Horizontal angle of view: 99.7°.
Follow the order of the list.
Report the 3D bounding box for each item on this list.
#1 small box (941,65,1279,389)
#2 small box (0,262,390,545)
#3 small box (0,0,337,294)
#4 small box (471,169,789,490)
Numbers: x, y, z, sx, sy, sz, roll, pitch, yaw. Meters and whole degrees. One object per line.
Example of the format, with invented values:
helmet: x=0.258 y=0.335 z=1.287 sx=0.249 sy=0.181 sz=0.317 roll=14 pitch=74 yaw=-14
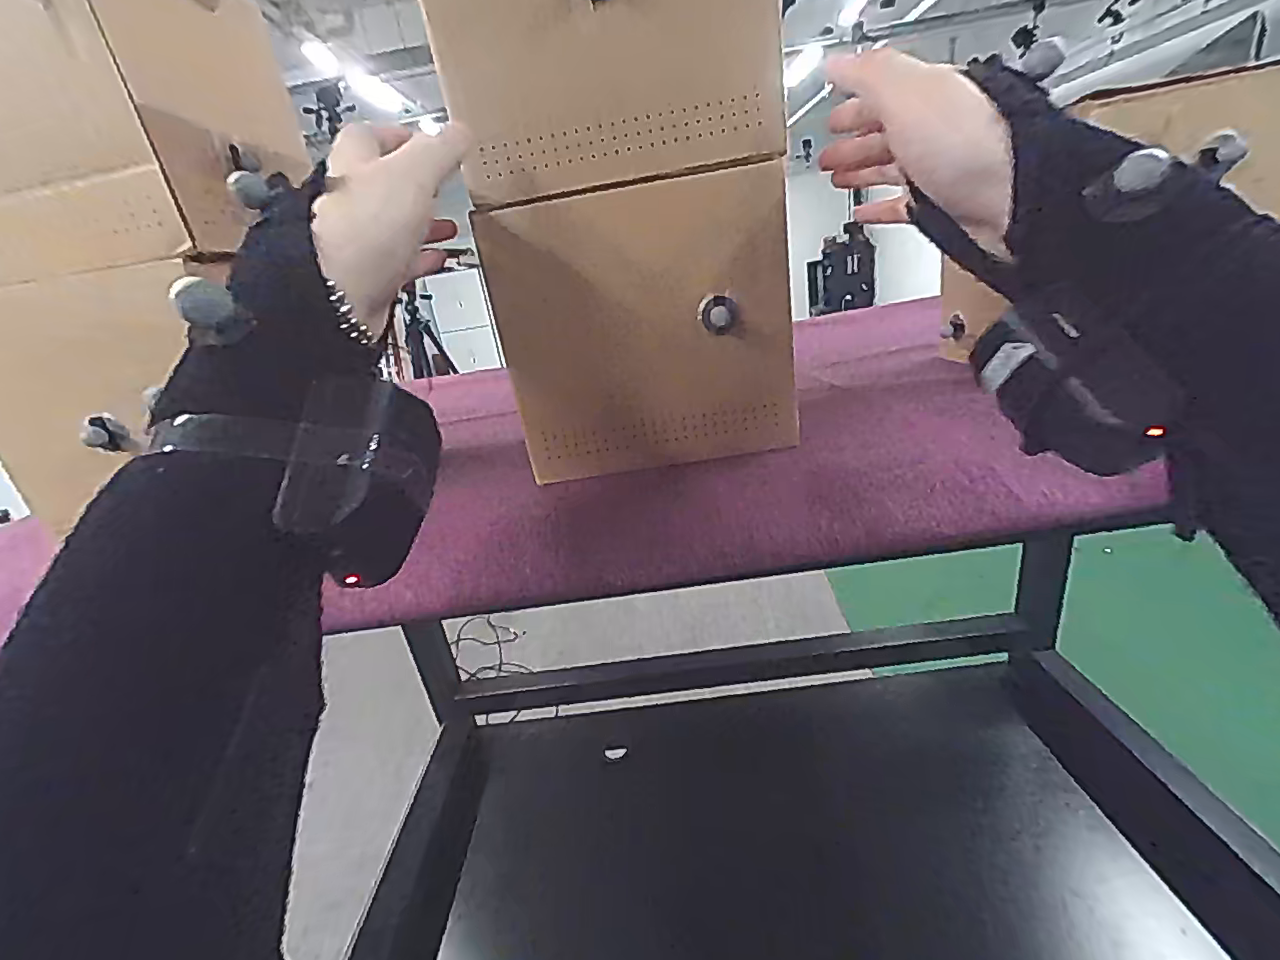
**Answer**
small box: x=0.347 y=-0.169 z=0.395 sx=0.179 sy=0.176 sz=0.168 roll=-8 pitch=20 yaw=5
small box: x=-0.314 y=-0.061 z=0.403 sx=0.168 sy=0.176 sz=0.179 roll=-7 pitch=22 yaw=2
small box: x=-0.337 y=-0.210 z=0.341 sx=0.179 sy=0.176 sz=0.168 roll=-8 pitch=23 yaw=1
small box: x=0.004 y=-0.107 z=0.394 sx=0.179 sy=0.176 sz=0.168 roll=-9 pitch=21 yaw=3
